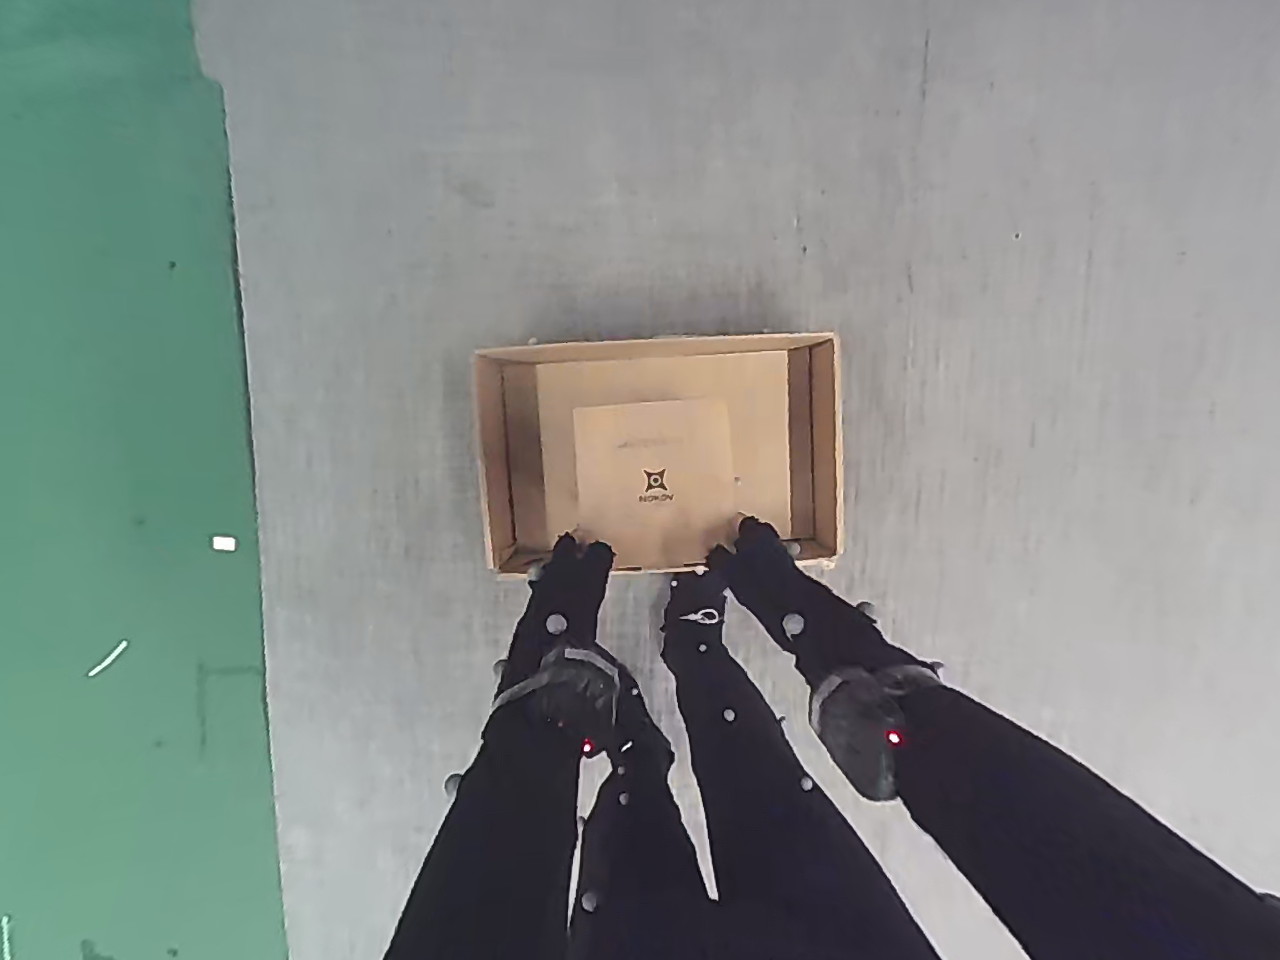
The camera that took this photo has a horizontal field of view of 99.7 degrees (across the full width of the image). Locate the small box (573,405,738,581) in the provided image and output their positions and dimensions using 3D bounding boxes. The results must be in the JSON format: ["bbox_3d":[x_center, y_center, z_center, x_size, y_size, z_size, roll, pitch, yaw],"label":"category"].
[{"bbox_3d":[0.020,0.017,0.644,0.168,0.176,0.179,-5,86,2],"label":"small box"}]
